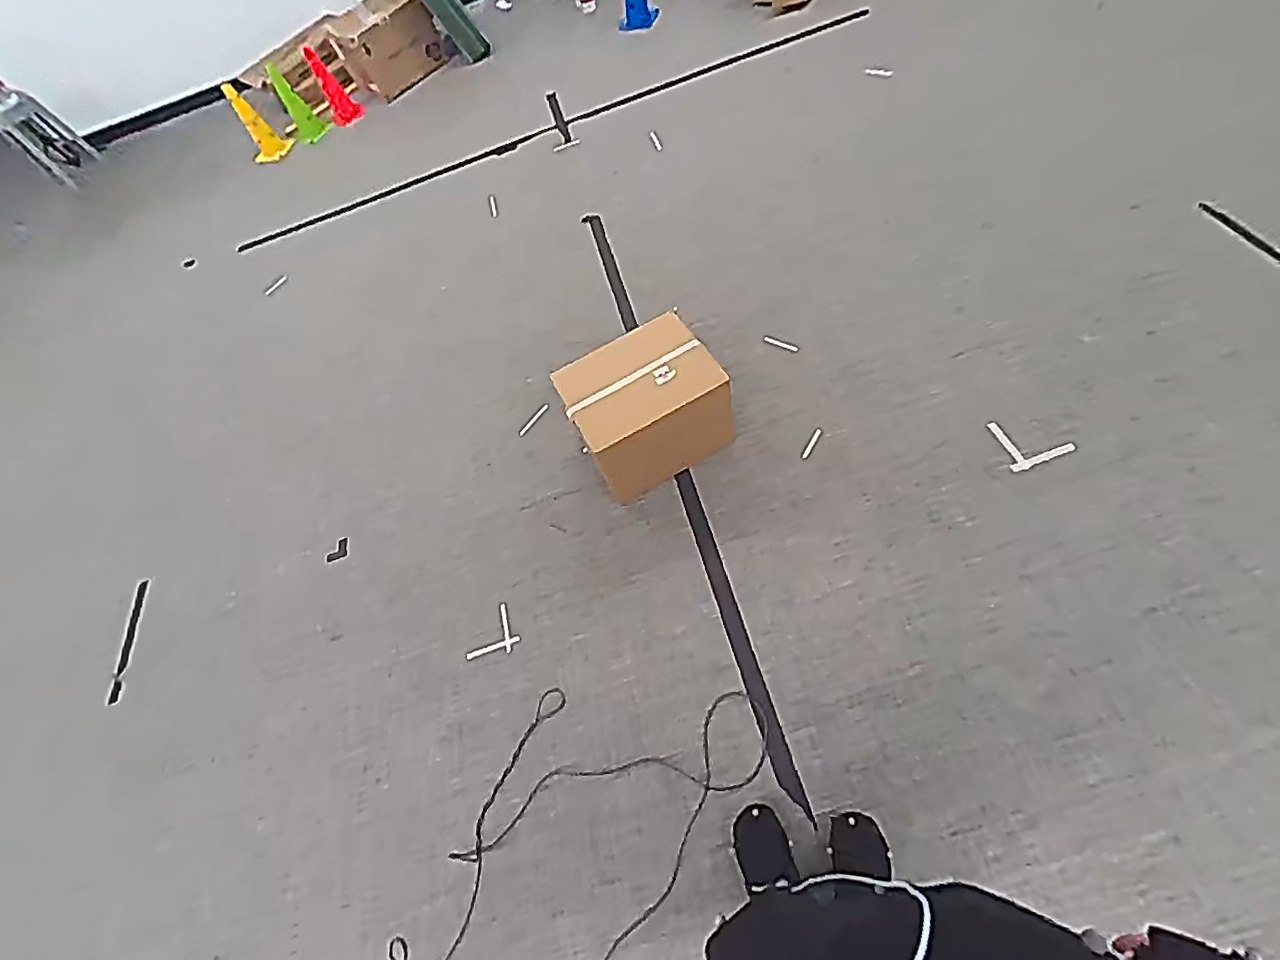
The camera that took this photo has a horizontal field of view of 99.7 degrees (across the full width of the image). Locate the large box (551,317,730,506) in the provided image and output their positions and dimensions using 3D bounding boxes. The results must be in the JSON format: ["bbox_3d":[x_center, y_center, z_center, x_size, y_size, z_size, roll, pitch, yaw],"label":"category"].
[{"bbox_3d":[0.013,-0.192,1.584,0.408,0.320,0.320,-29,60,-5],"label":"large box"}]
